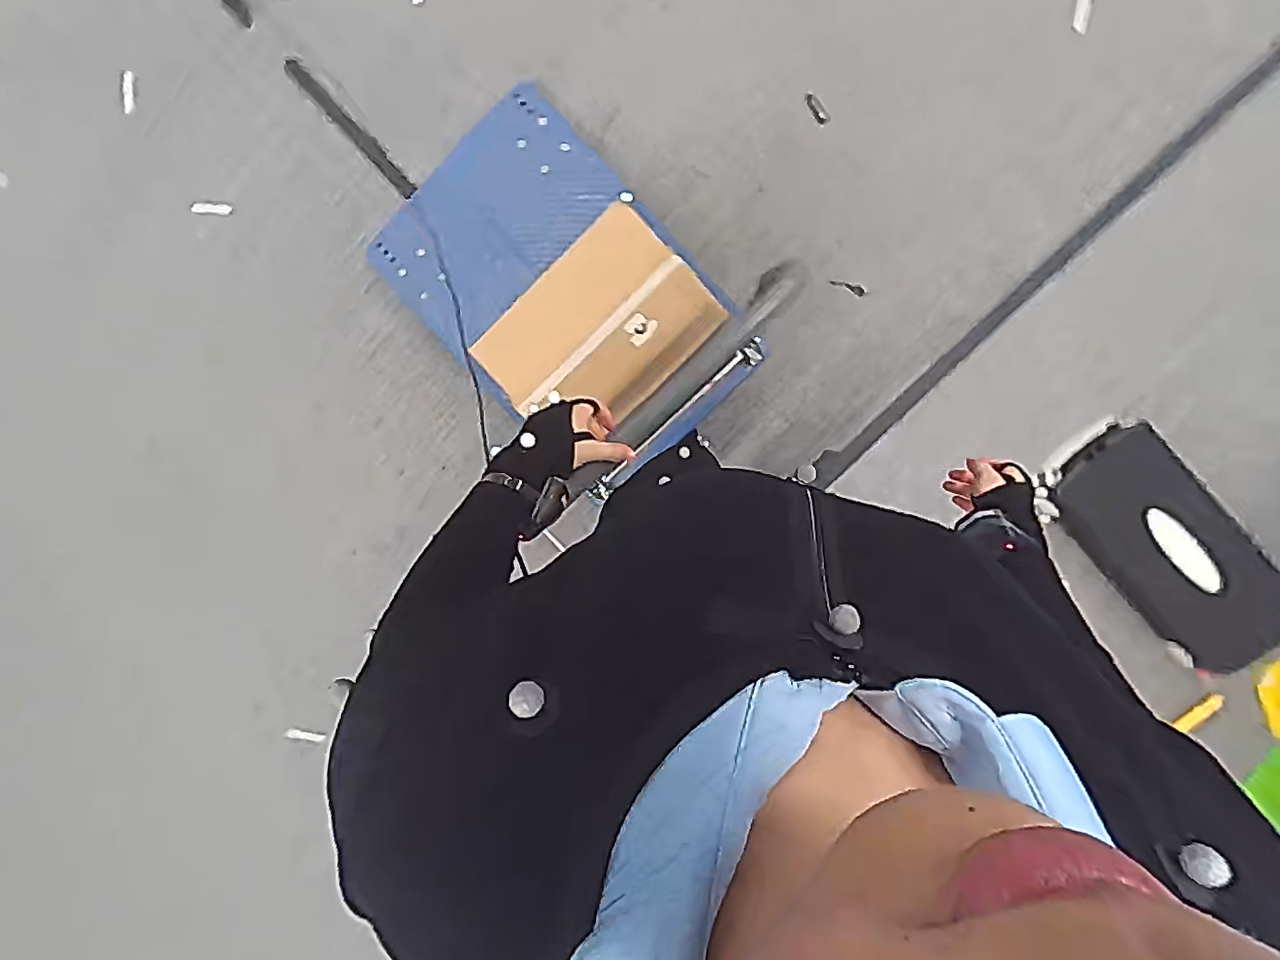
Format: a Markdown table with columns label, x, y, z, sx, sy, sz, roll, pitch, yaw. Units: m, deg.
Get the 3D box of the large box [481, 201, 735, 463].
| label | x | y | z | sx | sy | sz | roll | pitch | yaw |
| --- | --- | --- | --- | --- | --- | --- | --- | --- | --- |
| large box | -0.055 | -0.283 | 1.168 | 0.408 | 0.320 | 0.320 | -42 | 91 | 7 |
